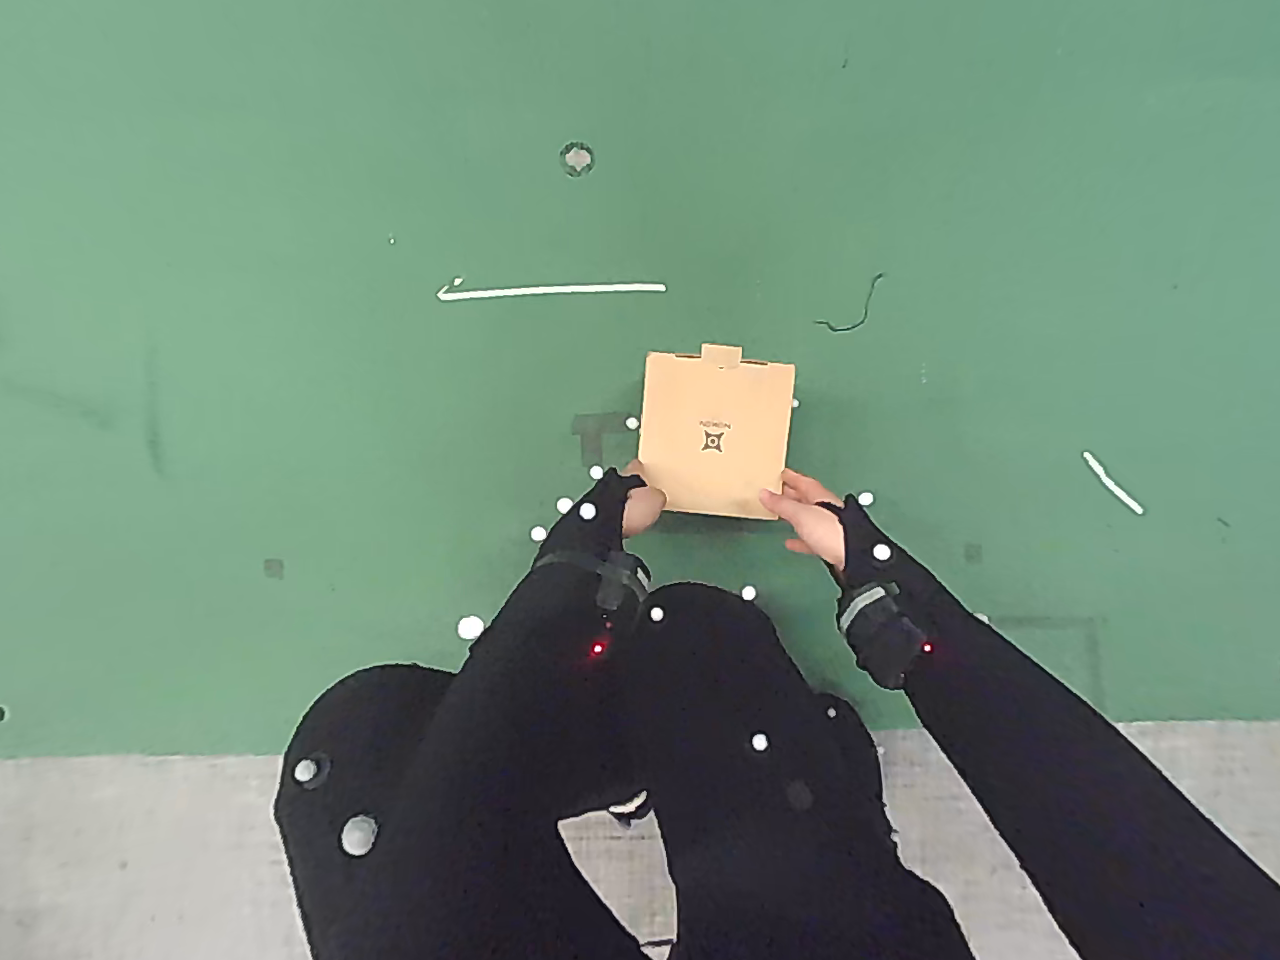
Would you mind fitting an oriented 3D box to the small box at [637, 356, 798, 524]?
[{"bbox_3d":[0.087,-0.049,0.680,0.168,0.176,0.179,5,93,0],"label":"small box"}]
